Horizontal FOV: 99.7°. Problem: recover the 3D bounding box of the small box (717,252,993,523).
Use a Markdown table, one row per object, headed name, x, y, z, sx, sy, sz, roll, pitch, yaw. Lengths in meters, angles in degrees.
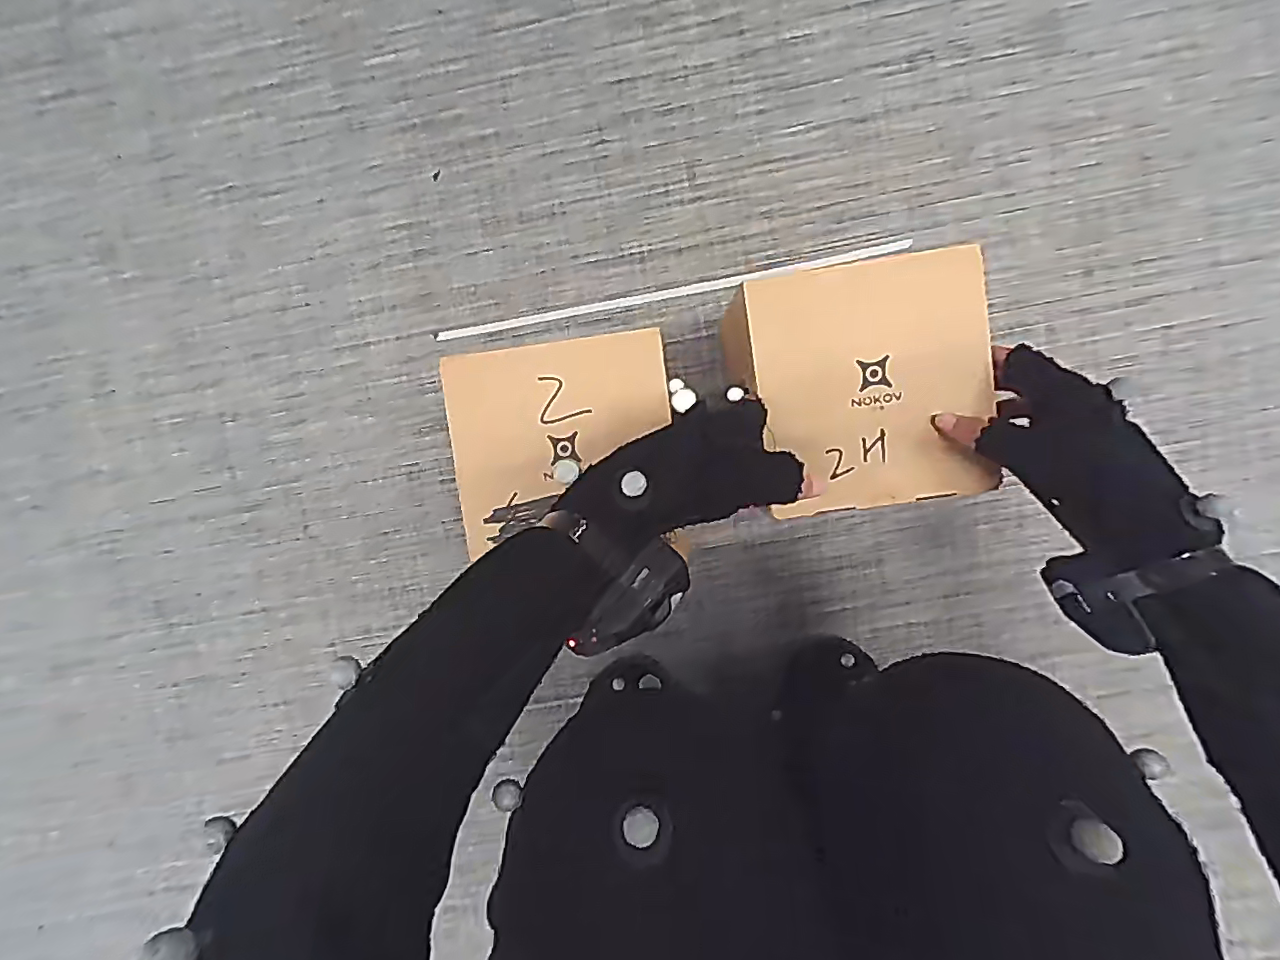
| name | x | y | z | sx | sy | sz | roll | pitch | yaw |
| --- | --- | --- | --- | --- | --- | --- | --- | --- | --- |
| small box | 0.164 | -0.069 | 0.466 | 0.168 | 0.176 | 0.179 | -9 | 95 | 3 |
